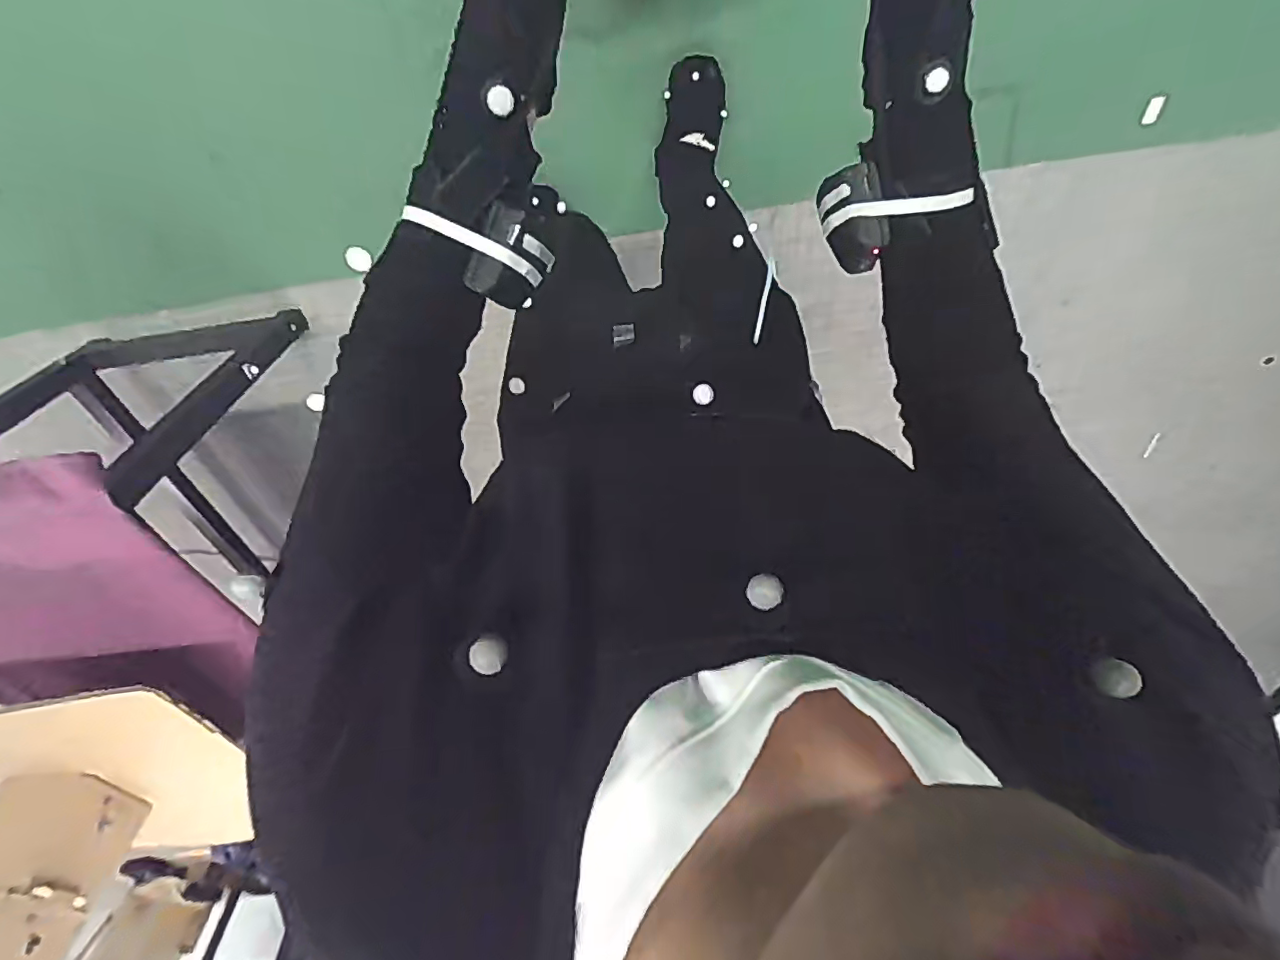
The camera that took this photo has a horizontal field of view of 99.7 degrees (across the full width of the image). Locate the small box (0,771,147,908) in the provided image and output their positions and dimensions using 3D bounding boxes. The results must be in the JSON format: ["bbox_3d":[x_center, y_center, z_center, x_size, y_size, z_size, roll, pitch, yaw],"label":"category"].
[{"bbox_3d":[-1.049,0.633,0.952,0.179,0.176,0.168,-4,131,4],"label":"small box"}]

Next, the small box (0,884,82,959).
[{"bbox_3d":[-1.049,0.741,0.829,0.179,0.176,0.168,-5,131,4],"label":"small box"}]
